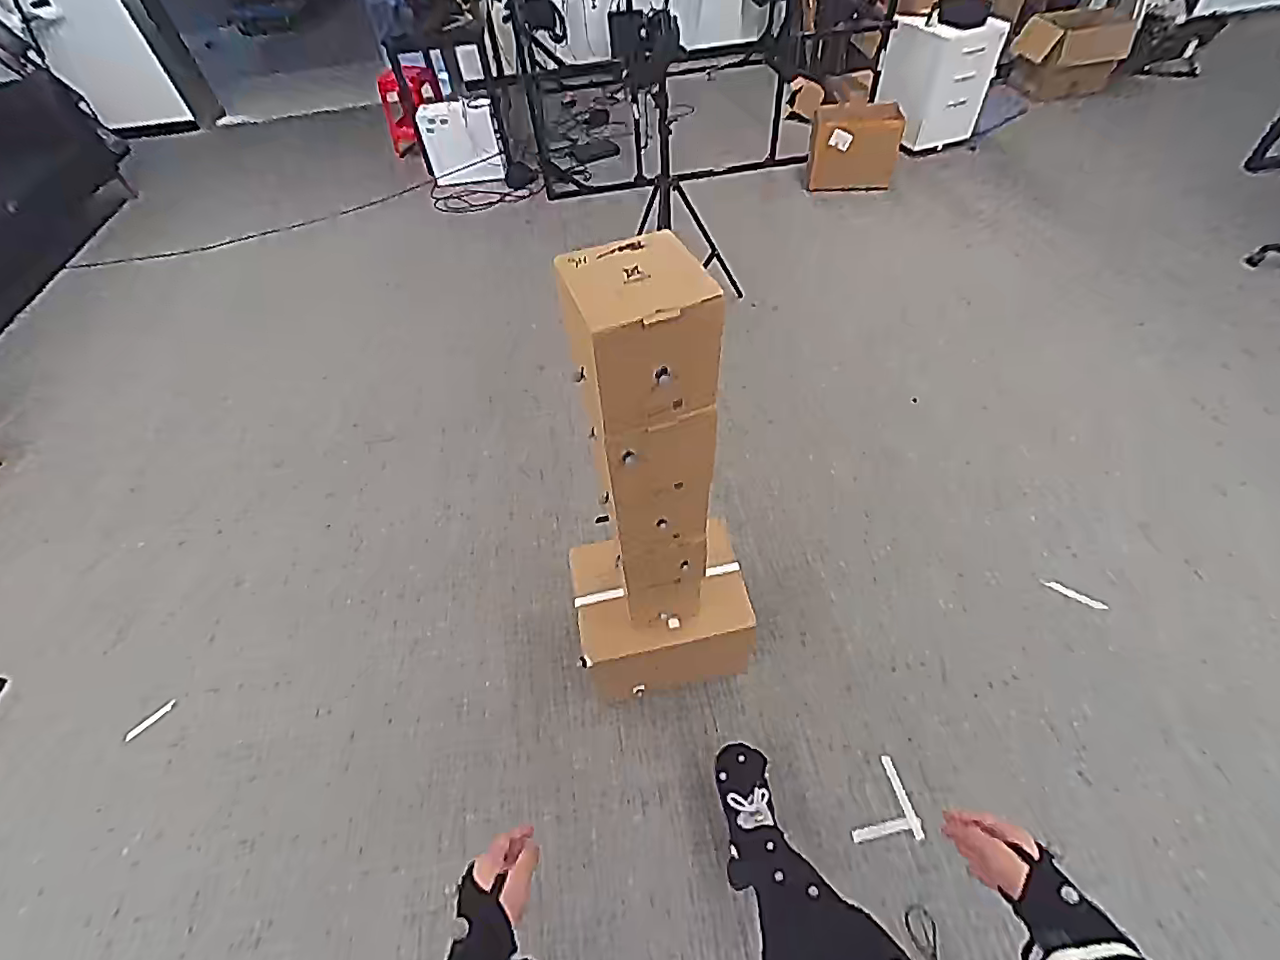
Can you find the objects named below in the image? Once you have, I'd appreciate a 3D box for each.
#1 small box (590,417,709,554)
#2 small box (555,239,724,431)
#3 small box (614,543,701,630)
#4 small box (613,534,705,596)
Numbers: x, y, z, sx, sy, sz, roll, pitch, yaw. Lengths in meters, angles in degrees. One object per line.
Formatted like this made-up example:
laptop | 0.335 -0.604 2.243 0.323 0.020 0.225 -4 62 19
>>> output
small box | 0.017 0.016 0.982 0.168 0.176 0.179 -15 52 -9
small box | -0.001 -0.186 0.723 0.168 0.176 0.179 -18 54 -11
small box | 0.036 0.218 1.237 0.168 0.176 0.179 -12 52 -4
small box | 0.032 0.120 1.108 0.168 0.176 0.179 -12 51 -6
